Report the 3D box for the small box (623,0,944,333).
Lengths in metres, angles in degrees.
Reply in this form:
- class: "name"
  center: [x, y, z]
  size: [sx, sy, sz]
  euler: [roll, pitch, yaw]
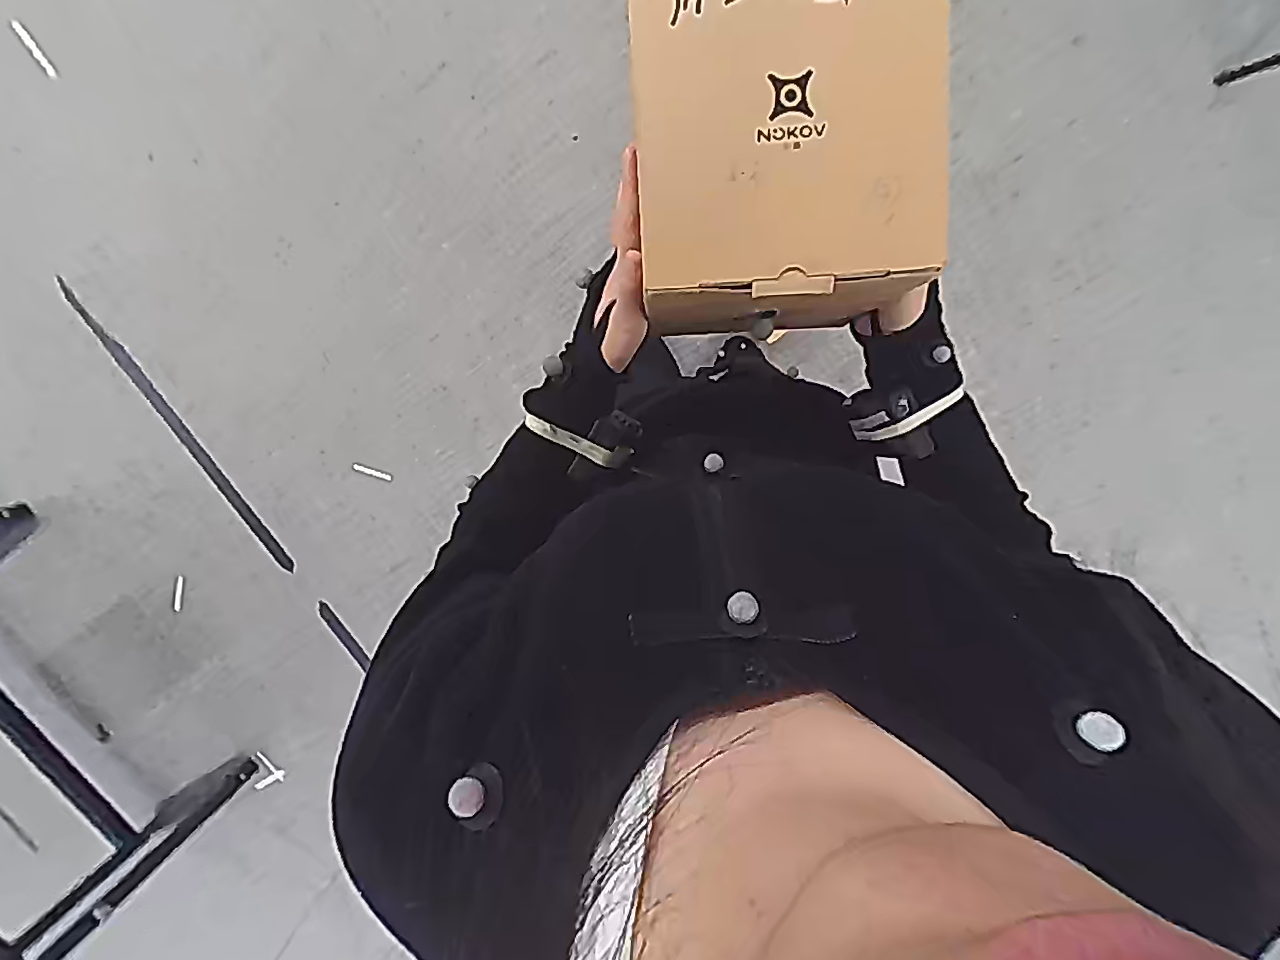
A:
- class: "small box"
  center: [0.080, -0.199, 0.367]
  size: [0.168, 0.176, 0.179]
  euler: [-3, 97, 3]
